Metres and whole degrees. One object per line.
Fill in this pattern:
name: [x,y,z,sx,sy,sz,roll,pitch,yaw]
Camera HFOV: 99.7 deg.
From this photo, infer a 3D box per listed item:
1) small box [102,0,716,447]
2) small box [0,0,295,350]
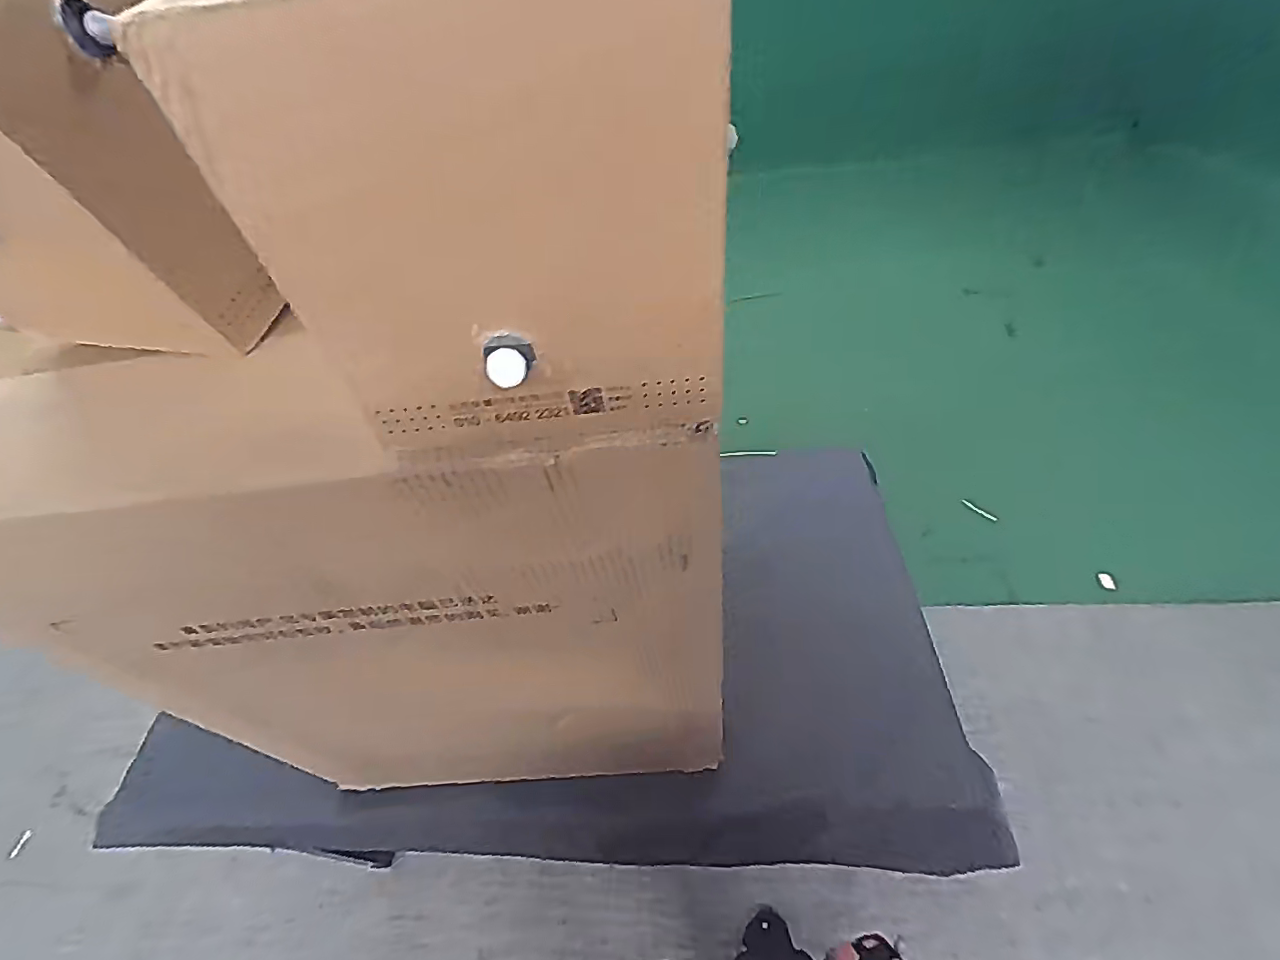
small box: [-0.057,-0.137,0.252,0.168,0.176,0.179,-5,51,4]
small box: [-0.321,-0.195,0.318,0.179,0.176,0.168,7,63,11]
